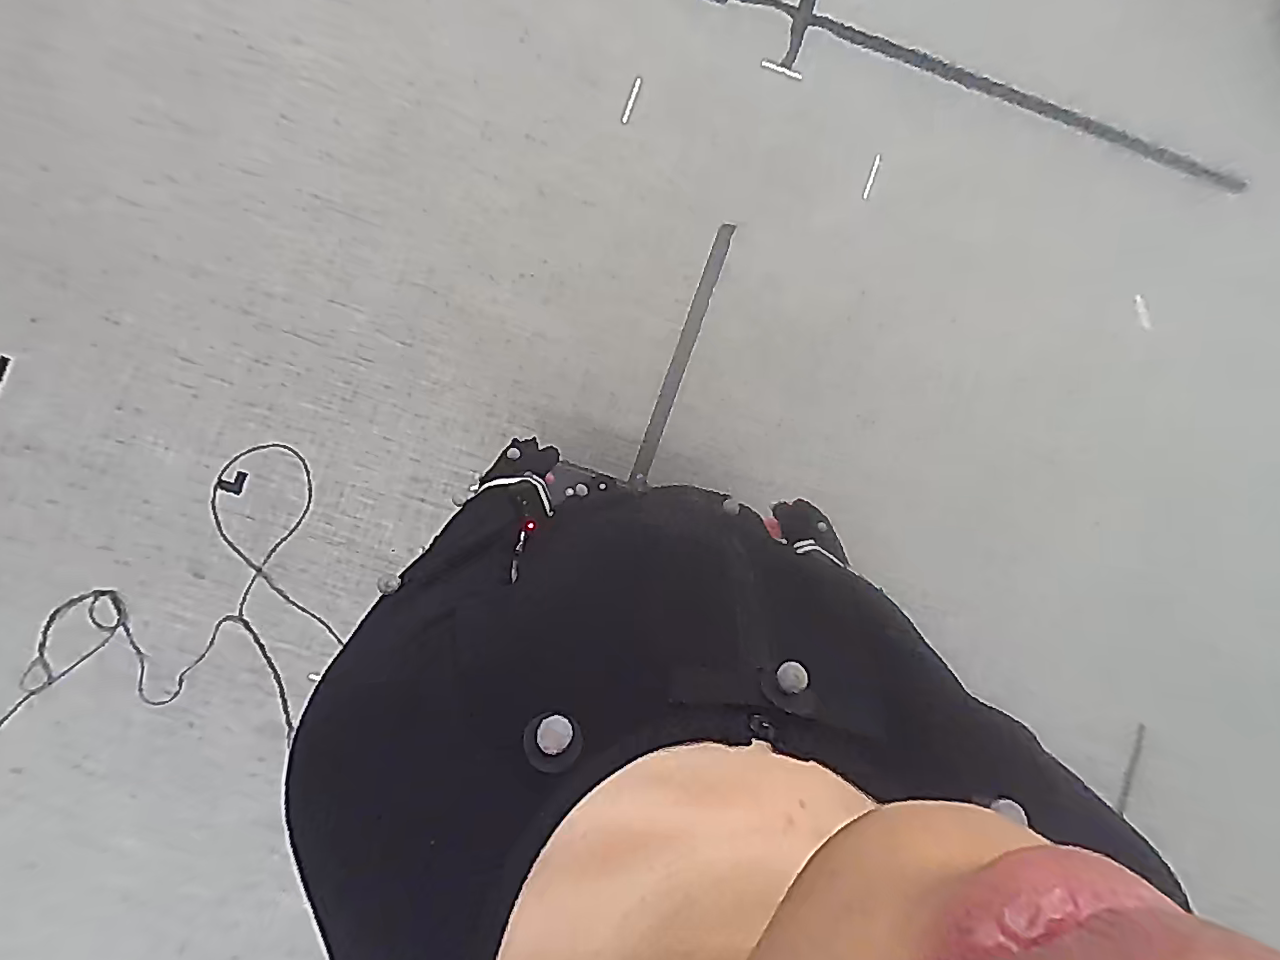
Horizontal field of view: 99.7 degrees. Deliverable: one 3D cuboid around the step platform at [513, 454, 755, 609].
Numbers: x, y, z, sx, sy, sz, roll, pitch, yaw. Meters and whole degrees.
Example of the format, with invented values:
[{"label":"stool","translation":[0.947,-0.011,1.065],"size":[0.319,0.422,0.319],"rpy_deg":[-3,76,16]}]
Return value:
[{"label":"step platform","translation":[-0.018,0.148,1.580],"size":[0.684,0.204,0.286],"rpy_deg":[17,88,-4]}]
